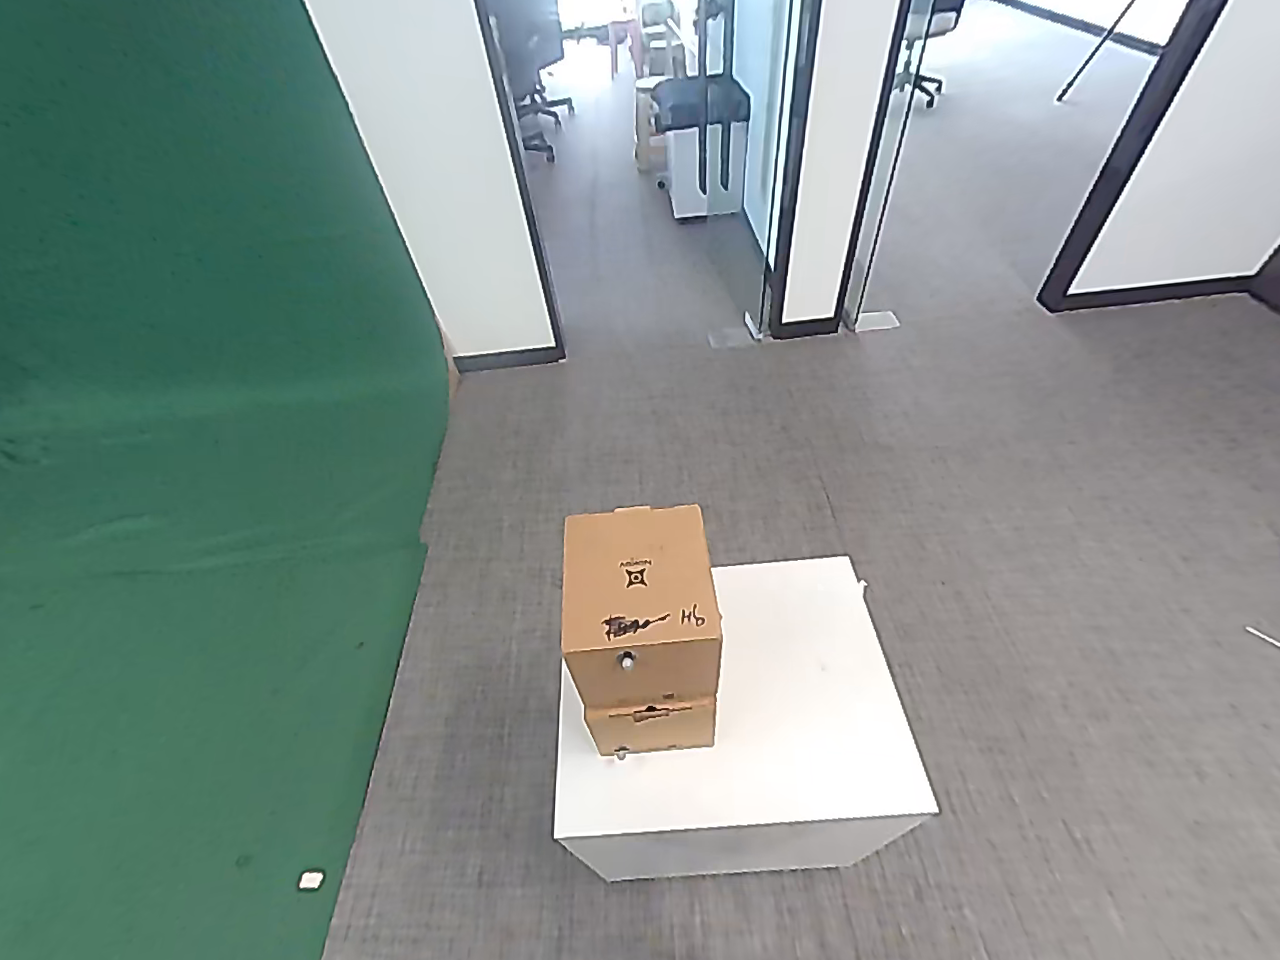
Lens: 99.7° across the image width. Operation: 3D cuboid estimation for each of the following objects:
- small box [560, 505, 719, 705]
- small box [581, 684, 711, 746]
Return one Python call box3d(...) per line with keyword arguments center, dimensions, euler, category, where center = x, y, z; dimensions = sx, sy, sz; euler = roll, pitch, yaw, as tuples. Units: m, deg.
box3d(center=(0.001, 0.155, 0.665), dimensions=(0.168, 0.176, 0.179), euler=(-6, 48, 1), category="small box")
box3d(center=(0.011, 0.270, 0.781), dimensions=(0.168, 0.176, 0.179), euler=(-5, 48, 1), category="small box")
